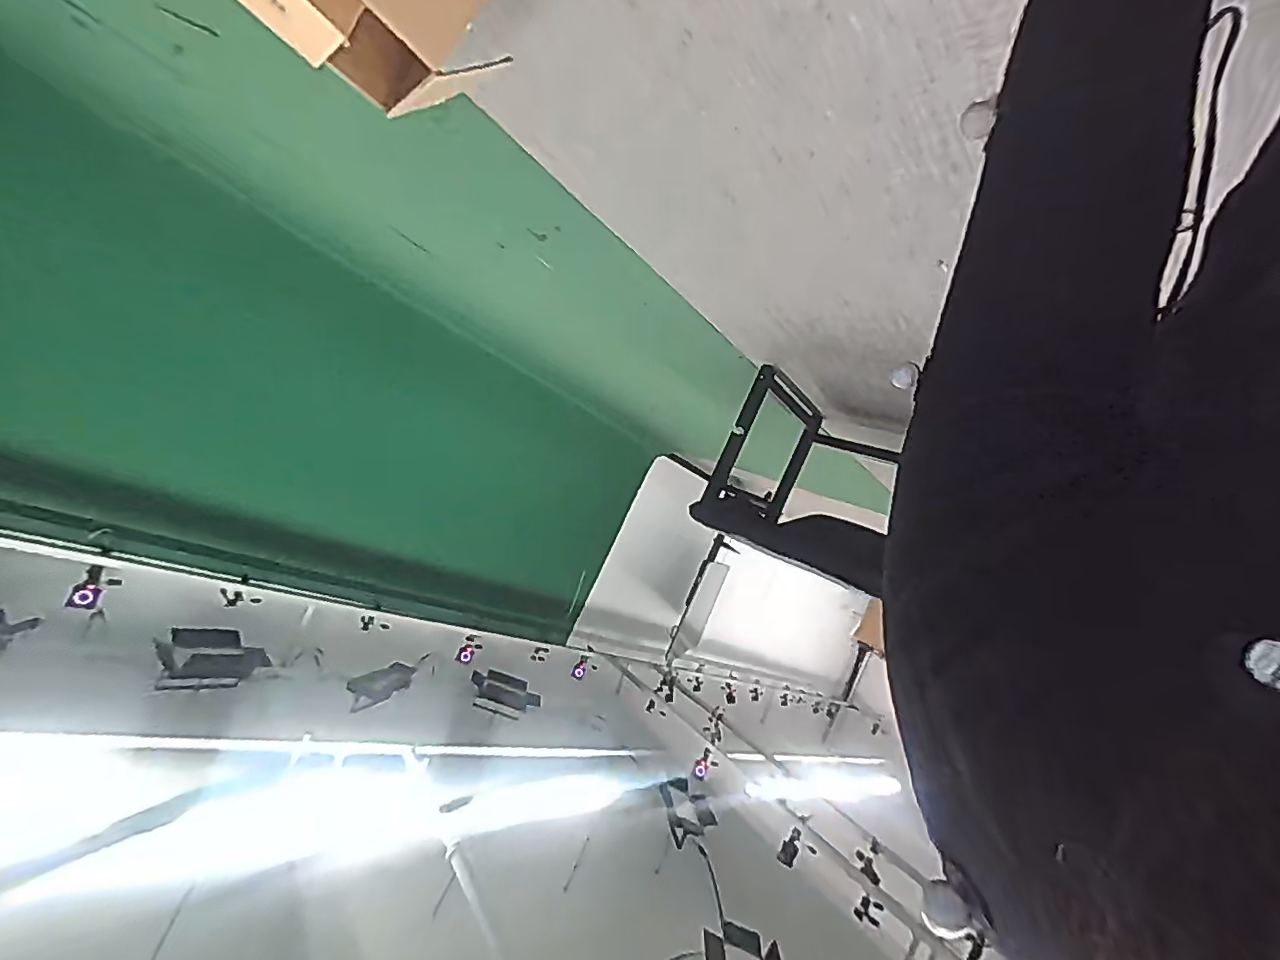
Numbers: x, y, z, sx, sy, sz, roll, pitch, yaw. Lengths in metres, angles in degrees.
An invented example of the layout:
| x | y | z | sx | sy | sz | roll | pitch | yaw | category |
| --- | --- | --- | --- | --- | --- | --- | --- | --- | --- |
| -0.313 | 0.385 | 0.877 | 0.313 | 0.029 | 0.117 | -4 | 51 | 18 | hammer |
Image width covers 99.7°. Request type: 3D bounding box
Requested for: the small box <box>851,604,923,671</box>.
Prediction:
| x | y | z | sx | sy | sz | roll | pitch | yaw | category |
| --- | --- | --- | --- | --- | --- | --- | --- | --- | --- |
| 0.898 | 0.565 | 1.950 | 0.179 | 0.176 | 0.168 | 23 | 175 | 43 | small box |

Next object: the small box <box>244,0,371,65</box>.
| x | y | z | sx | sy | sz | roll | pitch | yaw | category |
| --- | --- | --- | --- | --- | --- | --- | --- | --- | --- |
| -0.515 | -0.804 | 0.834 | 0.179 | 0.176 | 0.168 | 20 | 173 | 43 | small box |
